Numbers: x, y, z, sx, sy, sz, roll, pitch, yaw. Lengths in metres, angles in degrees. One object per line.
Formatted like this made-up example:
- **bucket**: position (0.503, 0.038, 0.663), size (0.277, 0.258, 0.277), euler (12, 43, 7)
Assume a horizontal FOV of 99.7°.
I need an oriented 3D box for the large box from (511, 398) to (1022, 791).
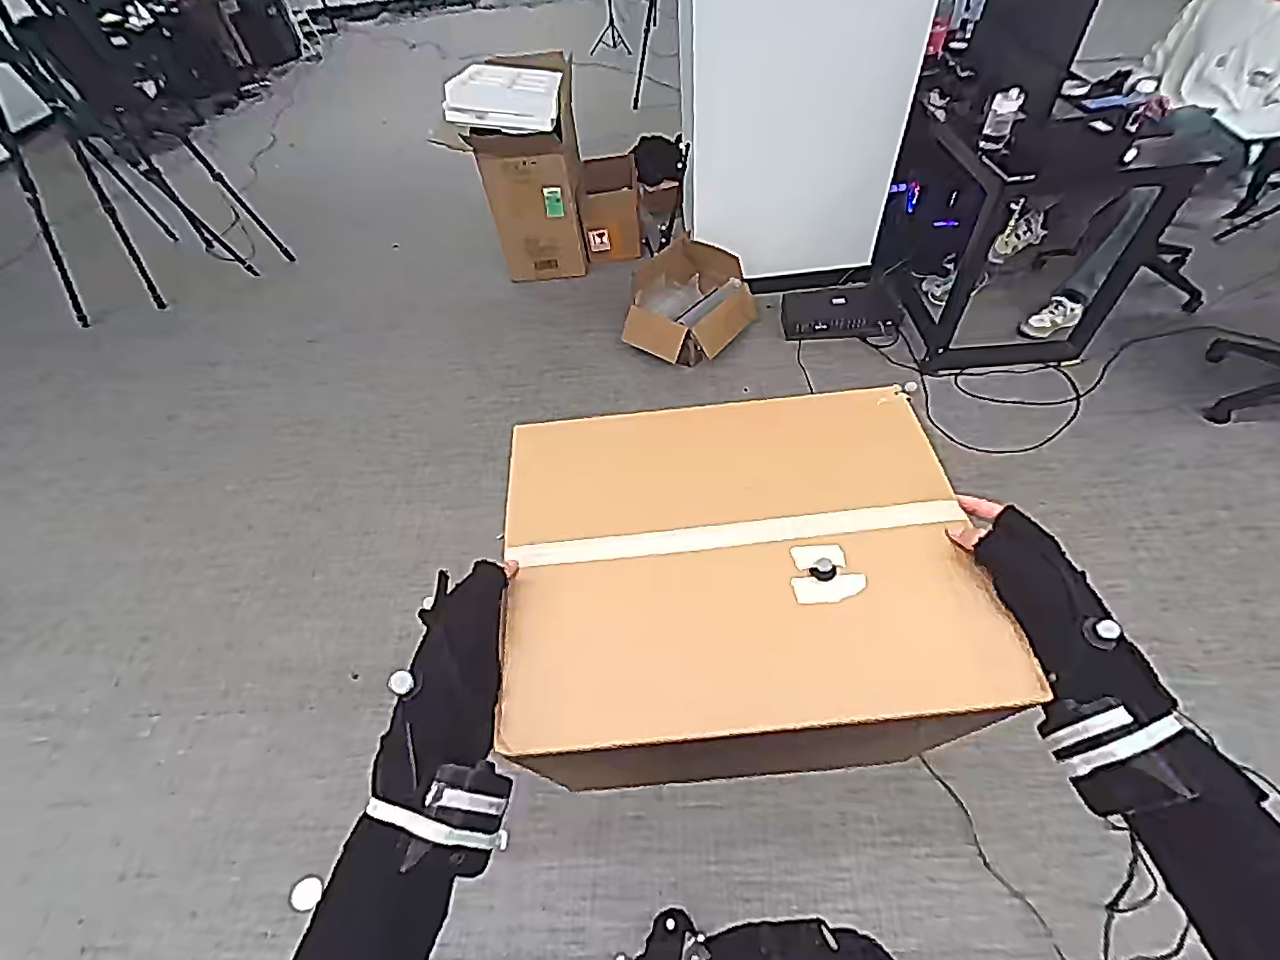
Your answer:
- **large box**: position (0.091, 0.142, 0.615), size (0.408, 0.320, 0.320), euler (-6, 55, 0)
